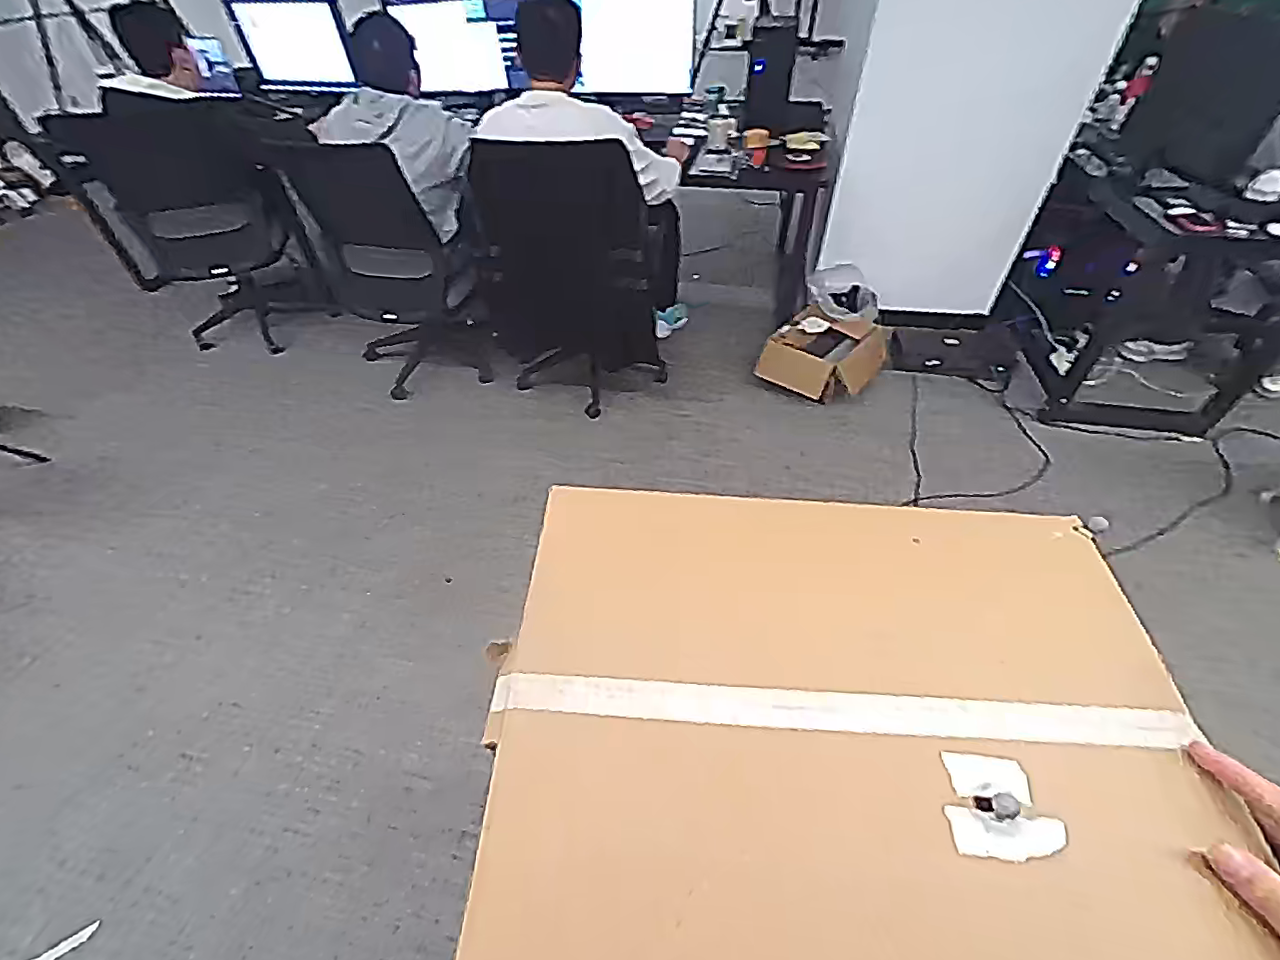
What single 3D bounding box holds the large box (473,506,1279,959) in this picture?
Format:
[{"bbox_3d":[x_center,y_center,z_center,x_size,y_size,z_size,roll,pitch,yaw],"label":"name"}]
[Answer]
[{"bbox_3d":[0.115,0.241,0.442,0.408,0.320,0.320,3,52,0],"label":"large box"}]
